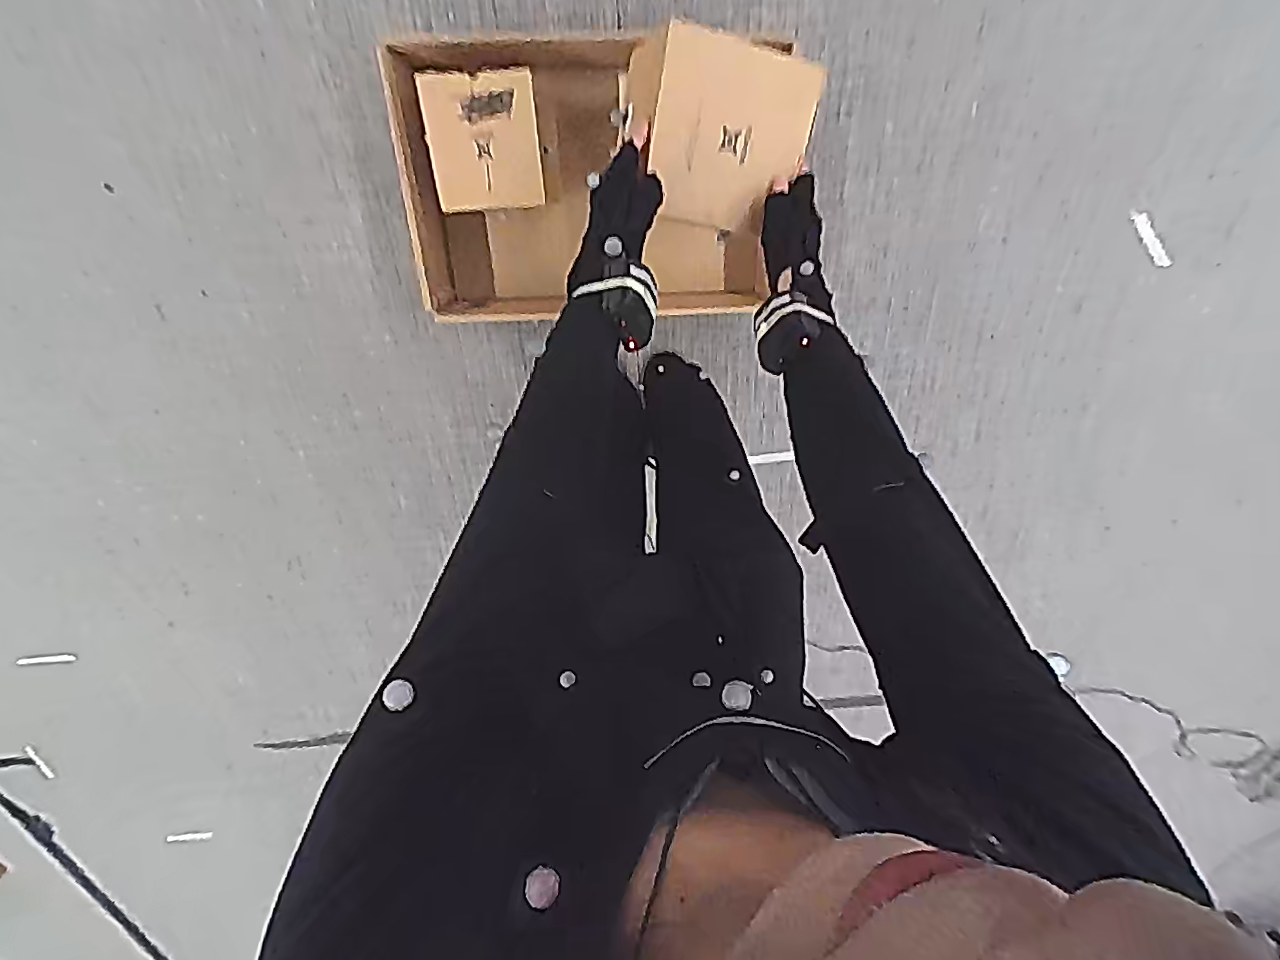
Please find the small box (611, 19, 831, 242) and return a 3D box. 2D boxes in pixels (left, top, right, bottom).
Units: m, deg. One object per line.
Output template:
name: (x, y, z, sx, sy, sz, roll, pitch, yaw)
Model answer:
small box: (0.077, -0.382, 0.621, 0.179, 0.176, 0.168, 3, 115, -18)
